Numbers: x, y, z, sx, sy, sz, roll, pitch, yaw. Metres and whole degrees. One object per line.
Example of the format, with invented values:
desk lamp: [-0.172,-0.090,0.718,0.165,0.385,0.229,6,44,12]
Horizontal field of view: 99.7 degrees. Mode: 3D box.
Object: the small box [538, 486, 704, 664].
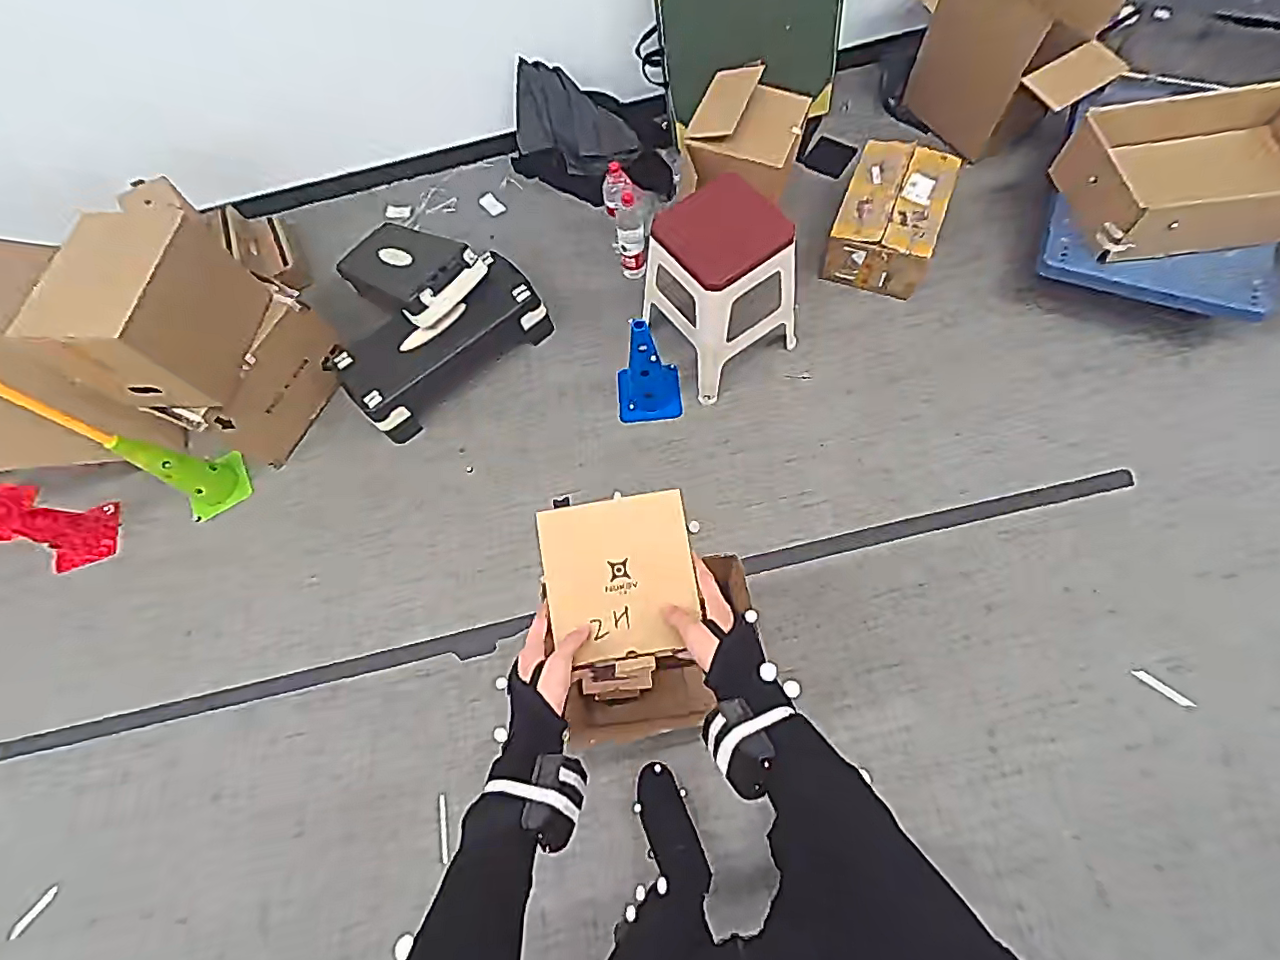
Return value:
small box: [-0.020,0.112,0.670,0.168,0.176,0.179,-9,84,3]
